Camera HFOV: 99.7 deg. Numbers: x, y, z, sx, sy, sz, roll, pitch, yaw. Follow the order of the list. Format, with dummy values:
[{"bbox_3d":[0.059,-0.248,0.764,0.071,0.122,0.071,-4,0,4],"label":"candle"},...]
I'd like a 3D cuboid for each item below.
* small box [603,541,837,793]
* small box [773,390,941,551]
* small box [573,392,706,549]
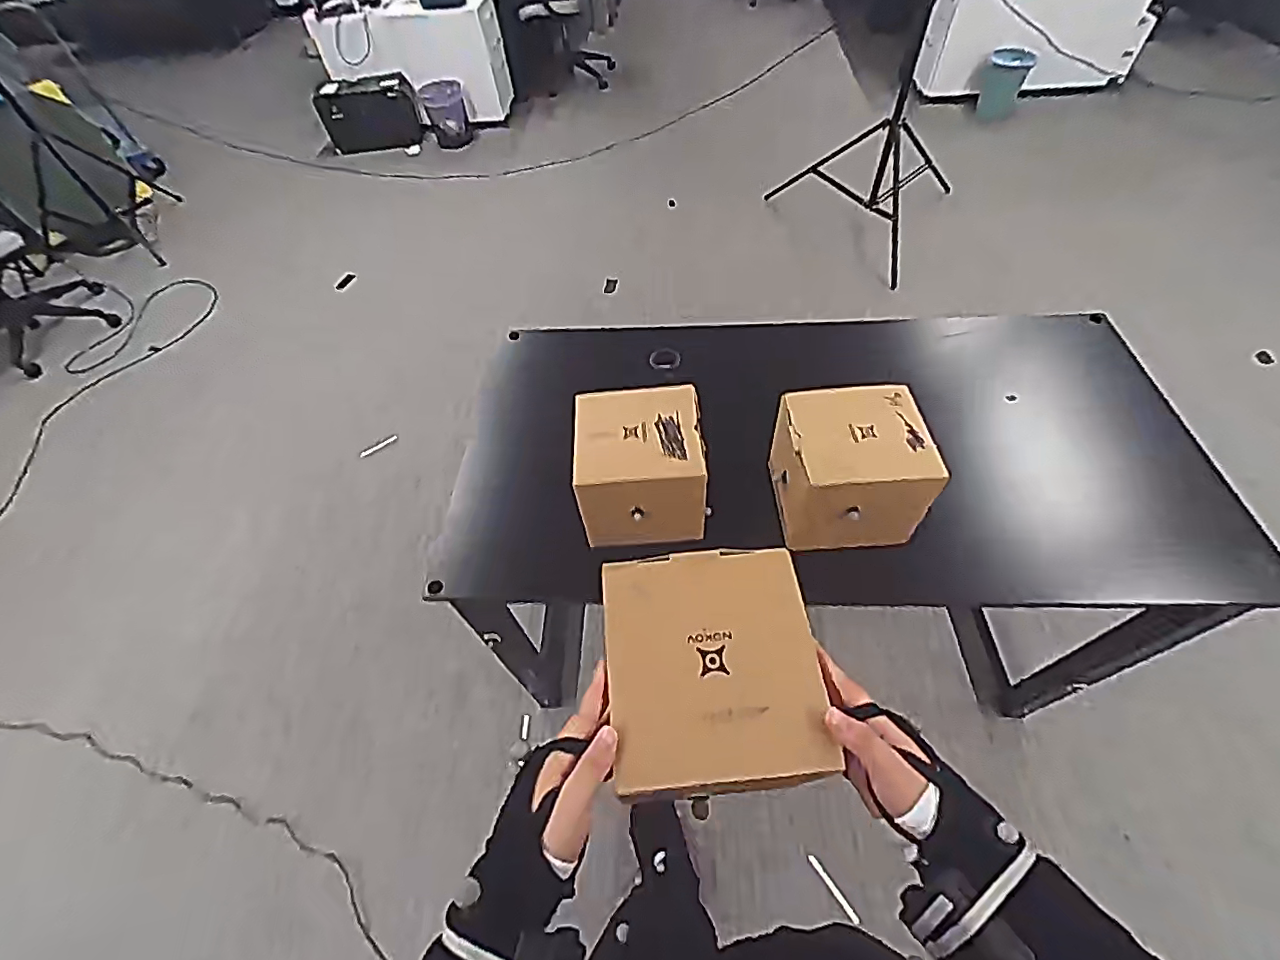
[{"bbox_3d":[0.054,0.175,0.495,0.168,0.176,0.179,-5,57,-2],"label":"small box"},{"bbox_3d":[0.295,-0.008,0.786,0.179,0.176,0.168,-5,53,3],"label":"small box"},{"bbox_3d":[0.002,-0.010,0.810,0.179,0.176,0.168,-5,53,2],"label":"small box"}]
